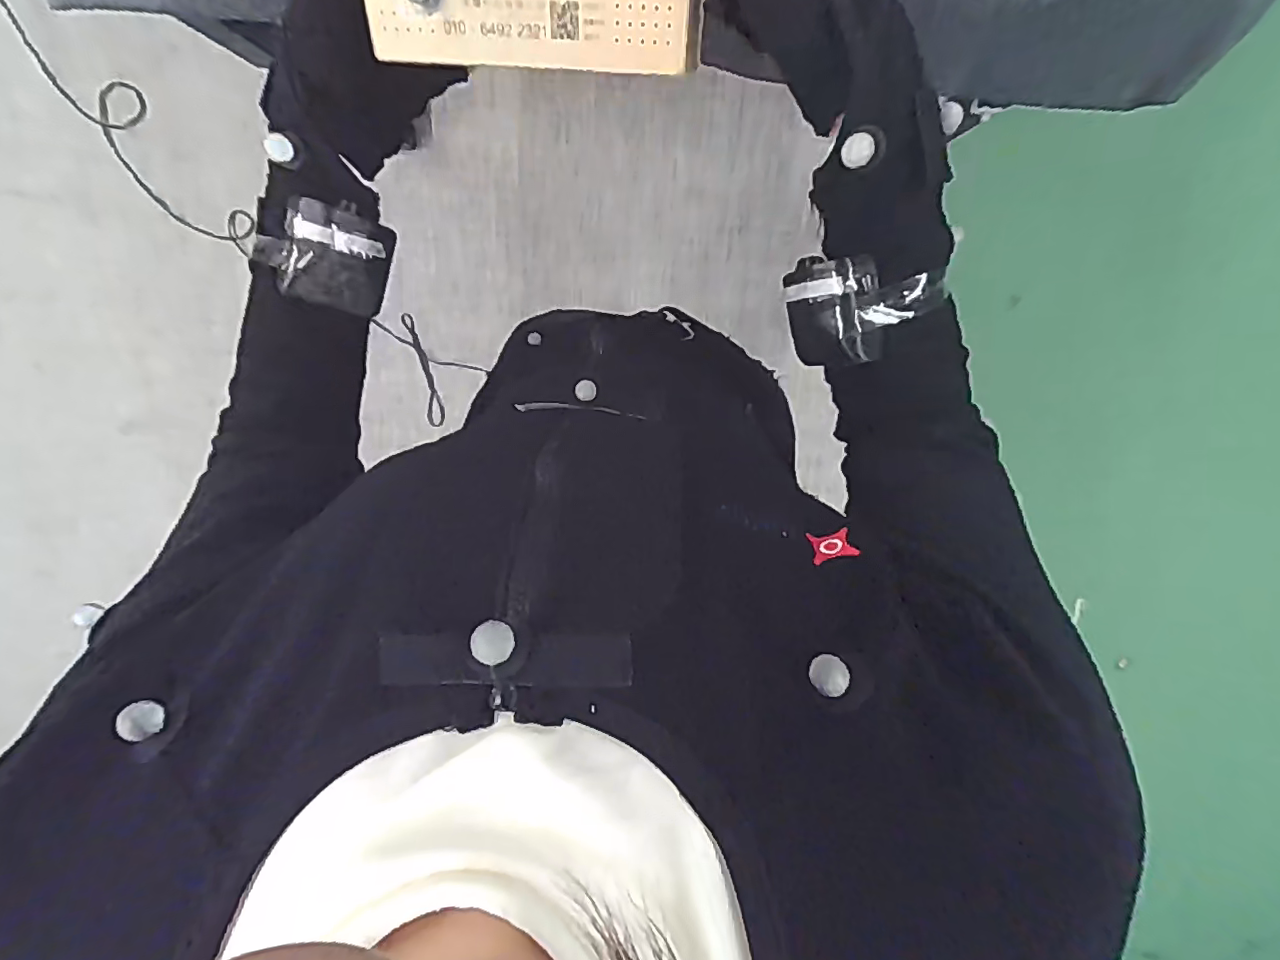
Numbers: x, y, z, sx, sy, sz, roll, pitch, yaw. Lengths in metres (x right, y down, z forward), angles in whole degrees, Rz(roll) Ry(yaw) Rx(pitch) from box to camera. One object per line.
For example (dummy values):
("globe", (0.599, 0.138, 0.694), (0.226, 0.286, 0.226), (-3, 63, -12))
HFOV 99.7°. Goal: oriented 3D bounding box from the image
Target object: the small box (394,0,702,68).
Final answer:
("small box", (-0.044, -0.342, 0.307), (0.168, 0.179, 0.176), (7, 128, 4))
